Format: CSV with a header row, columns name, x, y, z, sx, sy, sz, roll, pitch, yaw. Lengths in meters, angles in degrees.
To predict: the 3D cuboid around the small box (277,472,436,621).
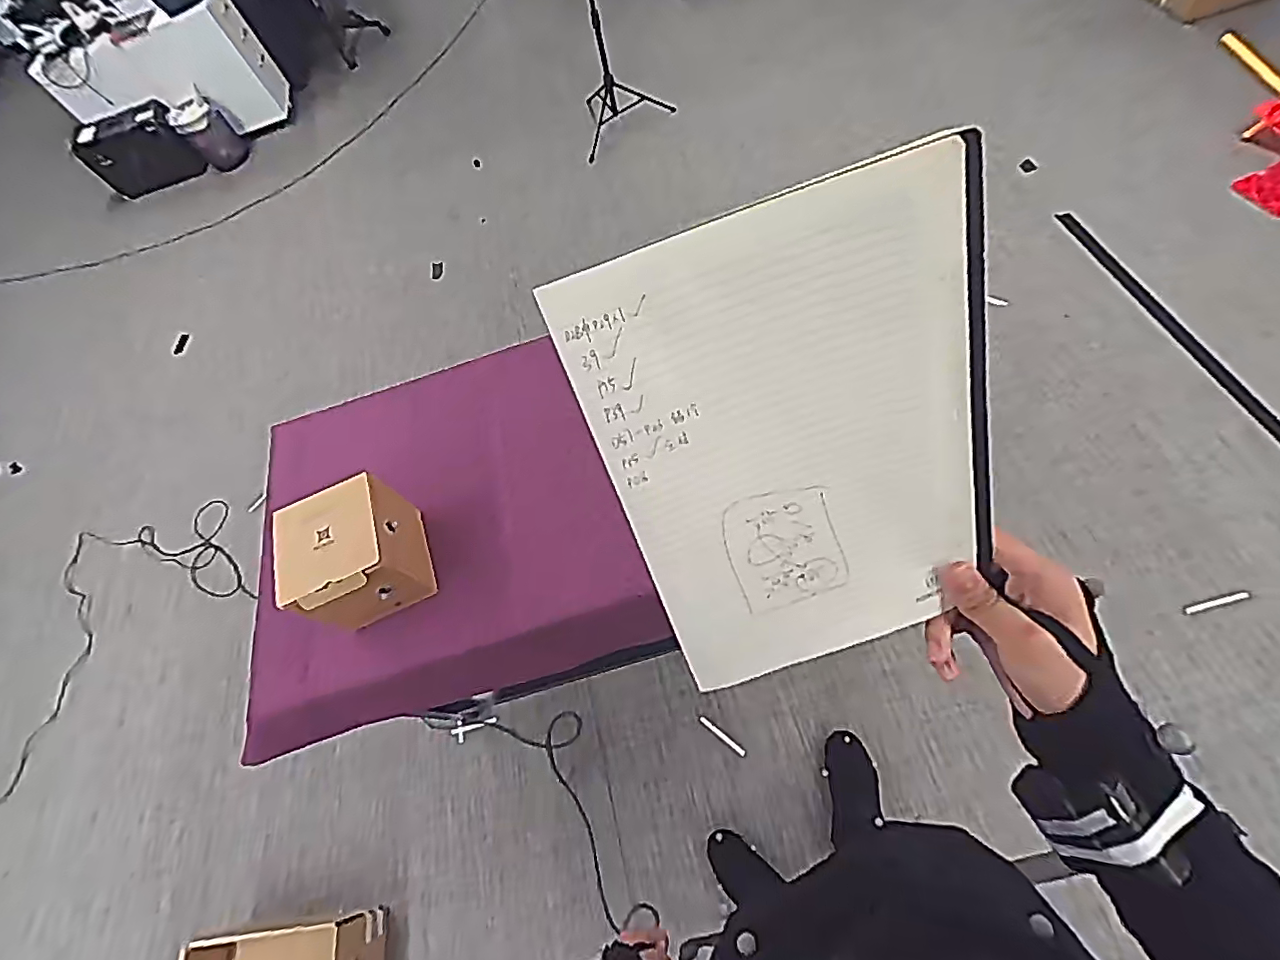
name,x,y,z,sx,sy,sz,roll,pitch,yaw
small box,-0.466,0.122,0.904,0.168,0.176,0.179,-24,61,-1
